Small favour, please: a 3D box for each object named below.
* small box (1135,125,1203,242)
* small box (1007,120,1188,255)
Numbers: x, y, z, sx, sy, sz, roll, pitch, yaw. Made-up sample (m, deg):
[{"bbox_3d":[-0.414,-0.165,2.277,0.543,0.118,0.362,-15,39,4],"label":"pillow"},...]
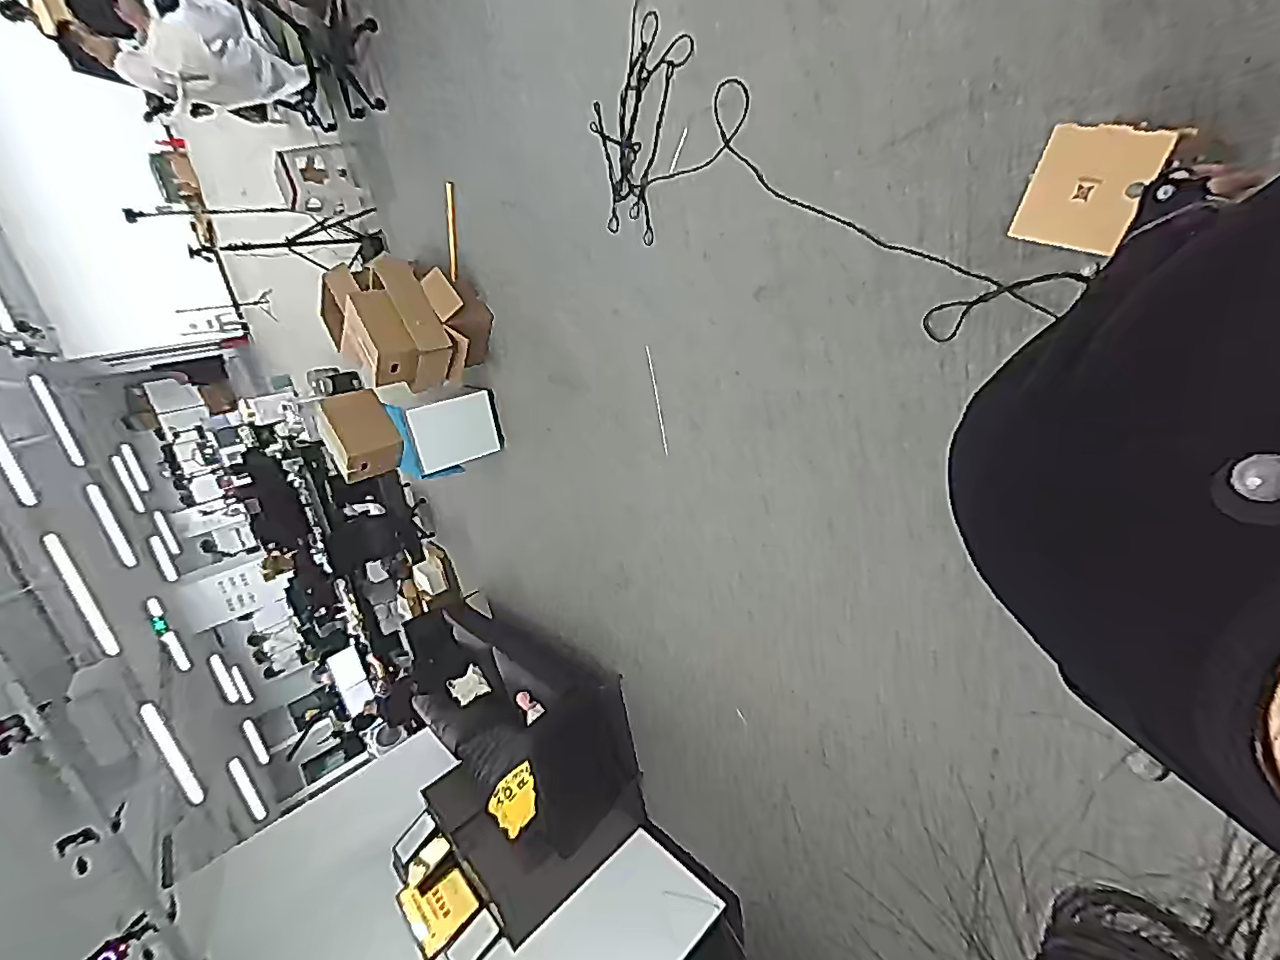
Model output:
[{"bbox_3d":[0.904,-0.554,1.013,0.168,0.176,0.179,30,131,39],"label":"small box"},{"bbox_3d":[0.780,-0.501,0.924,0.168,0.176,0.179,35,134,36],"label":"small box"}]
